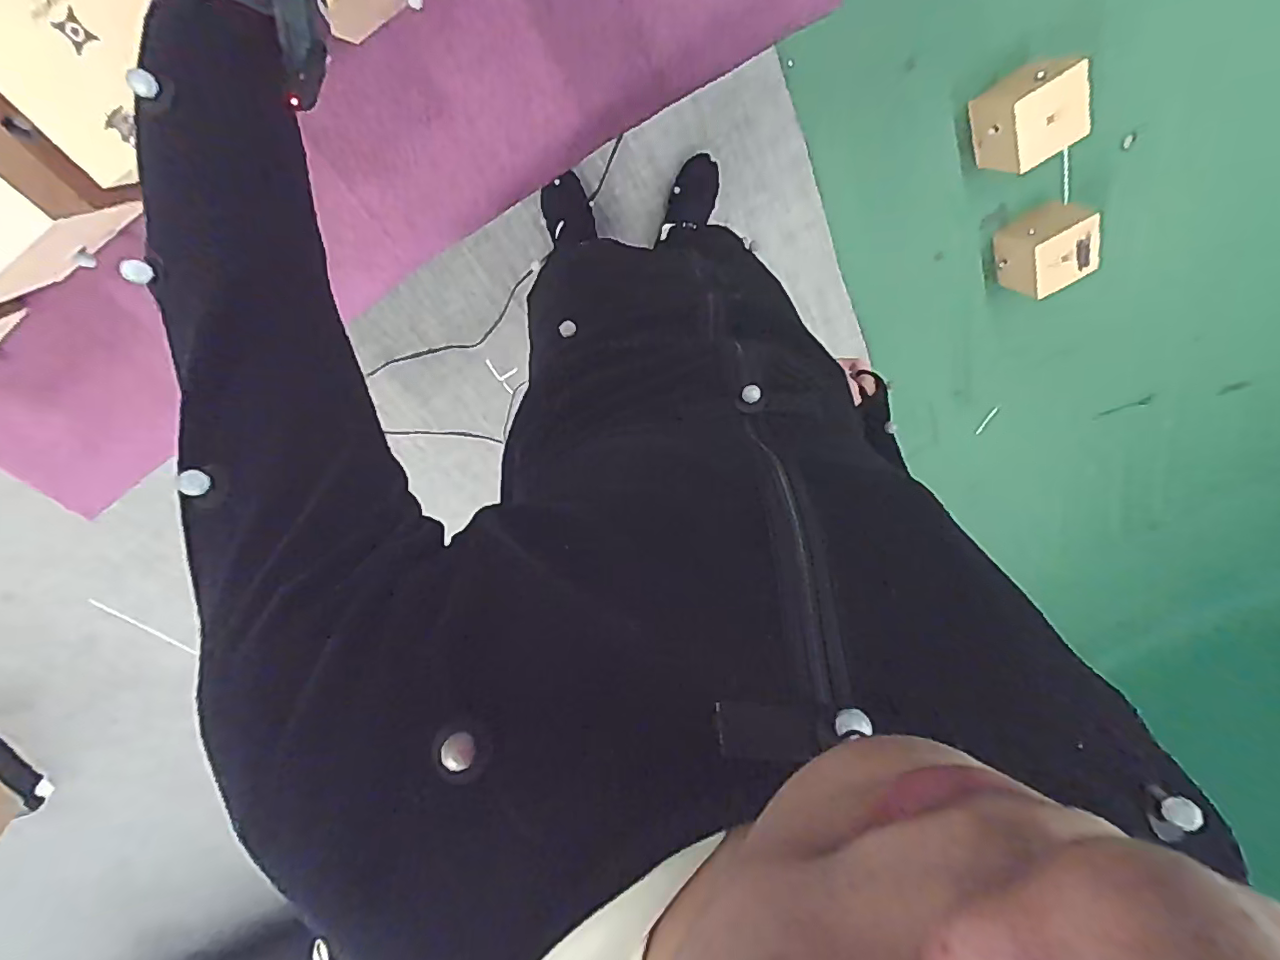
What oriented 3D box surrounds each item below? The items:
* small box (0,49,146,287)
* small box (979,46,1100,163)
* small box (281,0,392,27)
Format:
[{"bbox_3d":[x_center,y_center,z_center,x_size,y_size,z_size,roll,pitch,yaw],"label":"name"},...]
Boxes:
[{"bbox_3d":[-0.647,-0.298,0.511,0.168,0.176,0.179,-30,126,11],"label":"small box"},{"bbox_3d":[0.953,-0.898,1.304,0.179,0.176,0.168,-30,125,10],"label":"small box"},{"bbox_3d":[-0.262,-0.514,0.435,0.168,0.176,0.179,-28,126,10],"label":"small box"}]
